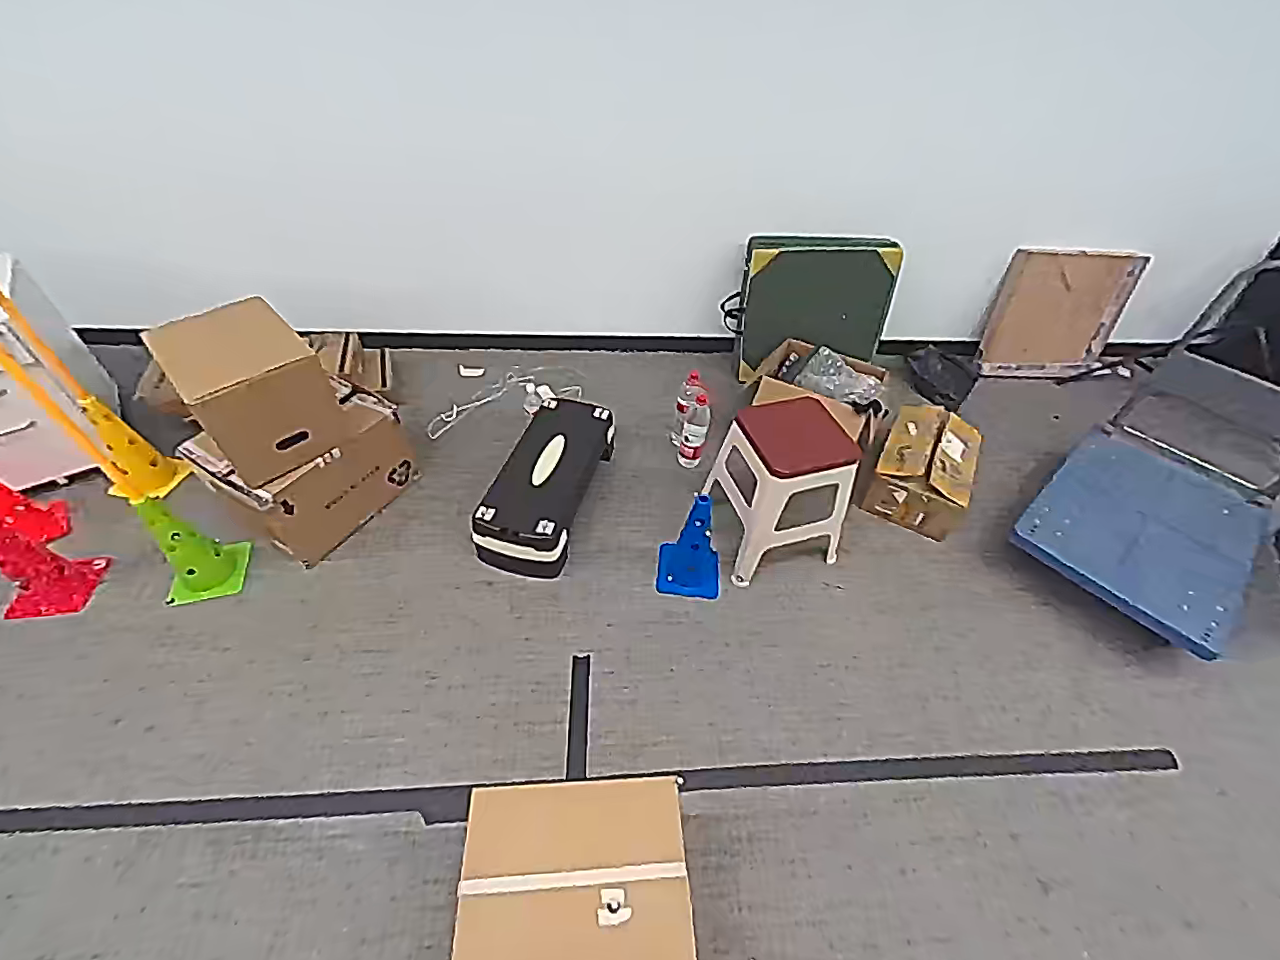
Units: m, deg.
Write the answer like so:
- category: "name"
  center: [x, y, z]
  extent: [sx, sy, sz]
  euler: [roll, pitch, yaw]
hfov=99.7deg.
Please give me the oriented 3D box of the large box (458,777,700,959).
- category: "large box"
  center: [-0.121, 0.815, 1.072]
  extent: [0.408, 0.320, 0.320]
  euler: [0, 47, -6]
